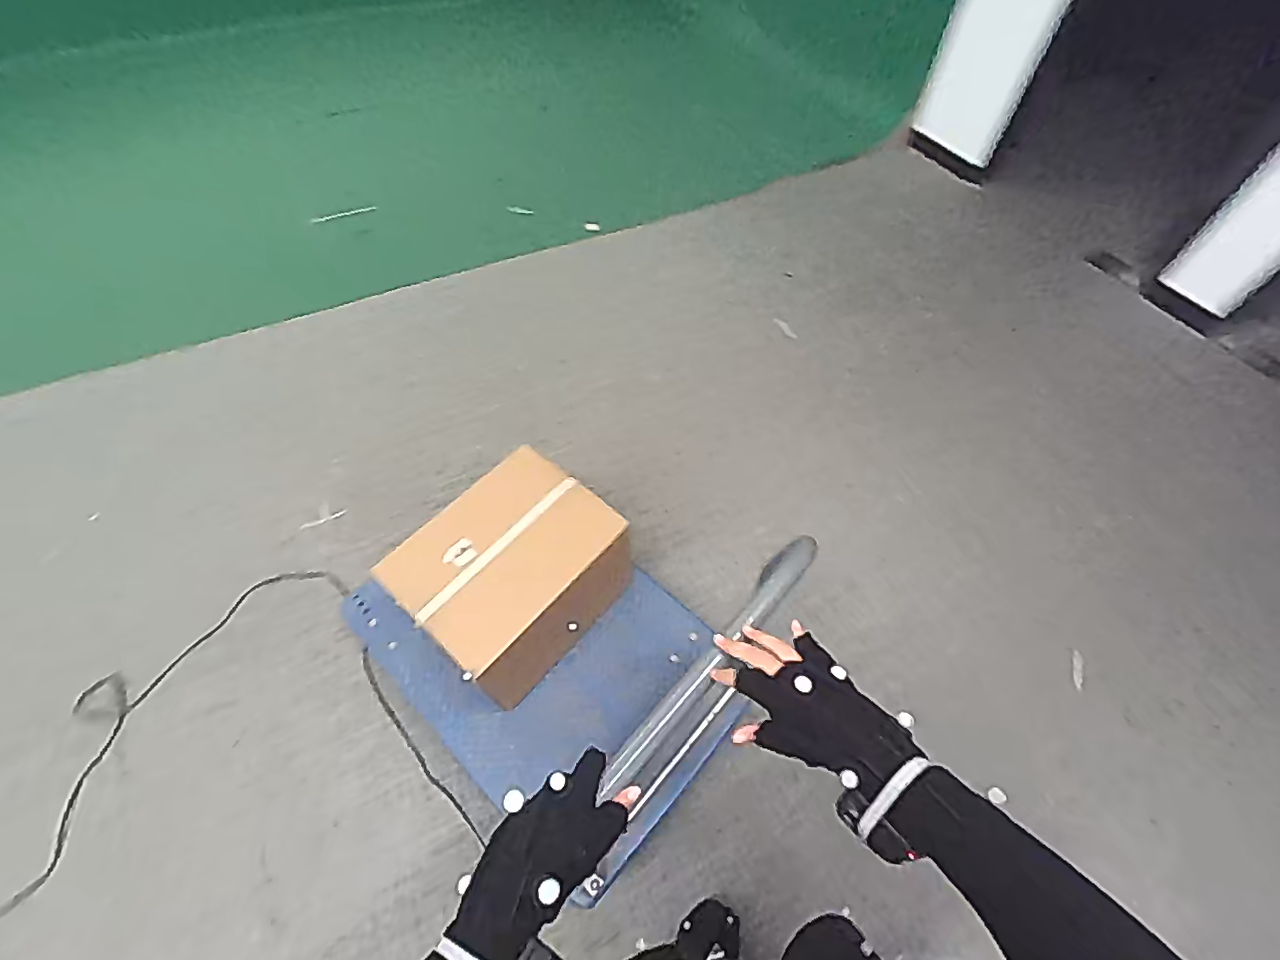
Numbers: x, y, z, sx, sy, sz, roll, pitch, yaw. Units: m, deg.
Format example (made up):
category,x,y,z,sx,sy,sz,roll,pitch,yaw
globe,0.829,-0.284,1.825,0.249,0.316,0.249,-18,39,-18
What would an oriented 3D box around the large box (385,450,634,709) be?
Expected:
category,x,y,z,sx,sy,sz,roll,pitch,yaw
large box,-0.252,0.219,1.193,0.320,0.320,0.408,35,64,21
